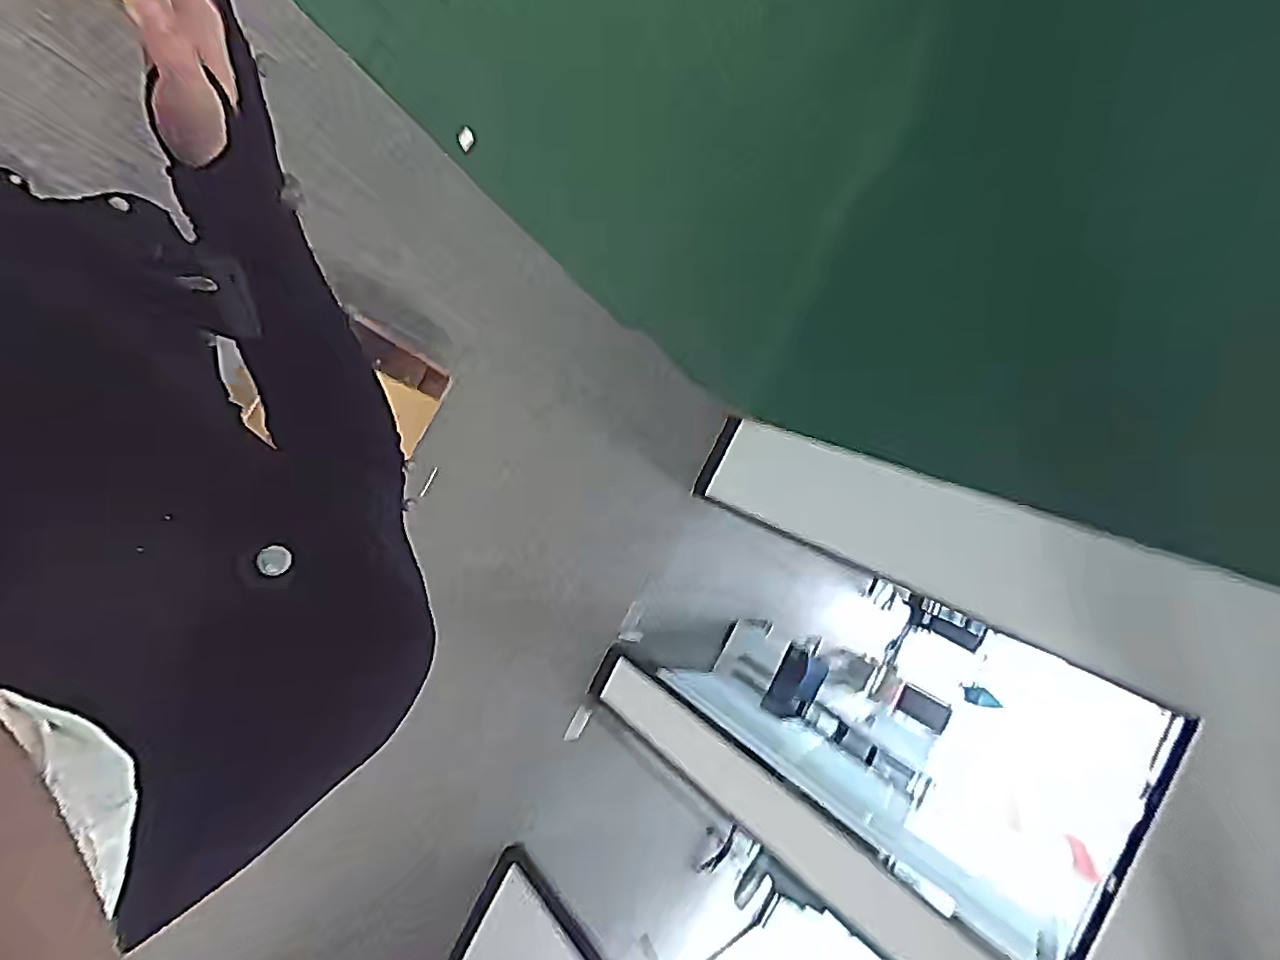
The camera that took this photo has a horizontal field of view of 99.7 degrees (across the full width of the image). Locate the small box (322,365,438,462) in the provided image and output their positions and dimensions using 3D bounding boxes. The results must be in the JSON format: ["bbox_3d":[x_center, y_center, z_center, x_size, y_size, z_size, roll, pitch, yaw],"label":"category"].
[{"bbox_3d":[-0.640,-0.168,1.324,0.179,0.176,0.168,28,89,-51],"label":"small box"}]
